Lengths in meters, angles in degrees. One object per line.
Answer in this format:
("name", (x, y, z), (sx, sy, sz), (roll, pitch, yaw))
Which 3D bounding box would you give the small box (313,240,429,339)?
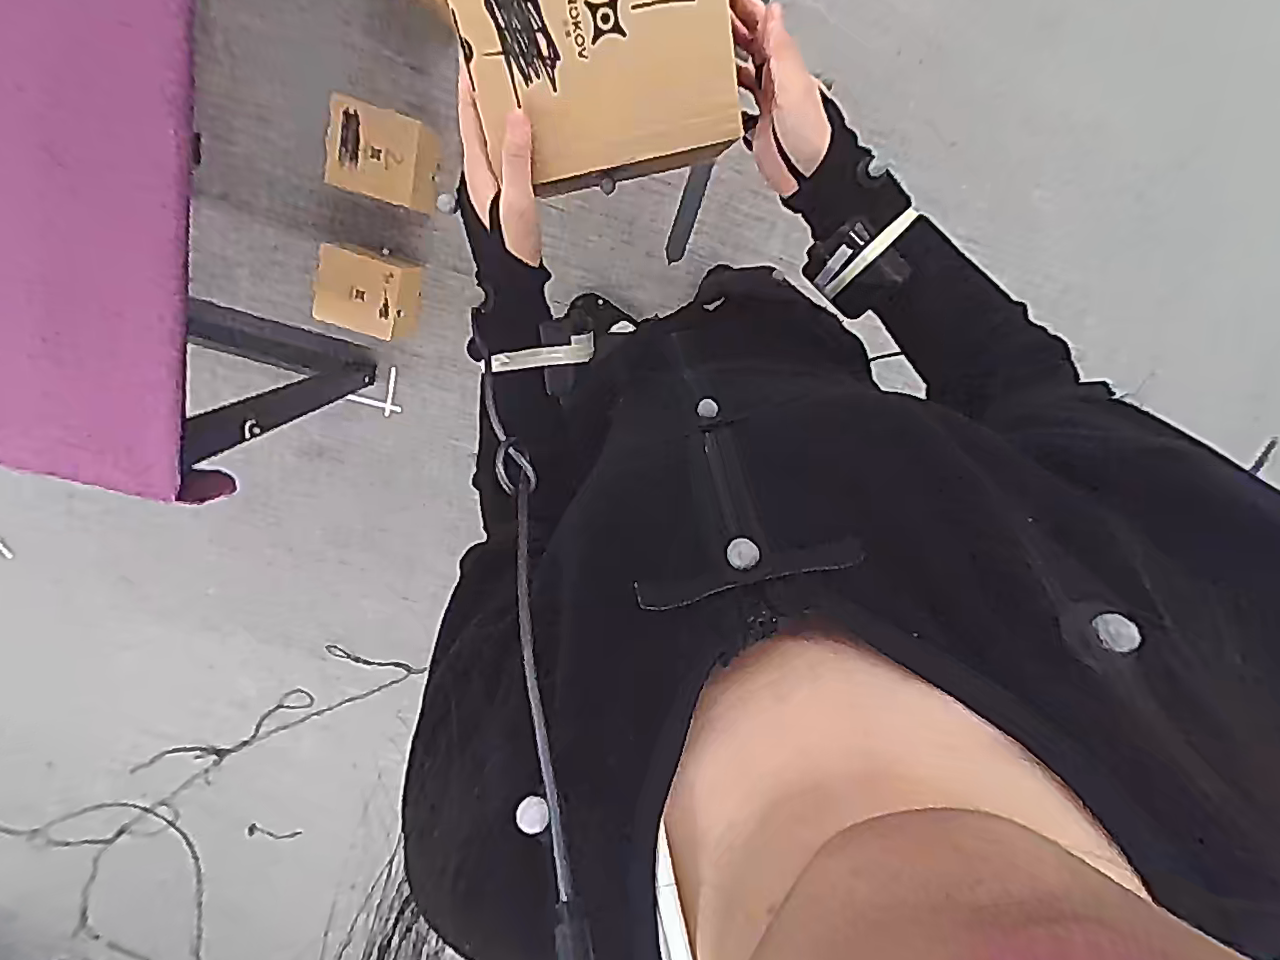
("small box", (-0.622, -0.441, 1.263), (0.179, 0.176, 0.168), (18, 110, -7))

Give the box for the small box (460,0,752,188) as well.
("small box", (-0.022, -0.328, 0.405), (0.179, 0.176, 0.168), (-9, 116, 5))

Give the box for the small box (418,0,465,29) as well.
("small box", (-0.401, -1.037, 1.041), (0.168, 0.176, 0.179), (32, 108, -14))
